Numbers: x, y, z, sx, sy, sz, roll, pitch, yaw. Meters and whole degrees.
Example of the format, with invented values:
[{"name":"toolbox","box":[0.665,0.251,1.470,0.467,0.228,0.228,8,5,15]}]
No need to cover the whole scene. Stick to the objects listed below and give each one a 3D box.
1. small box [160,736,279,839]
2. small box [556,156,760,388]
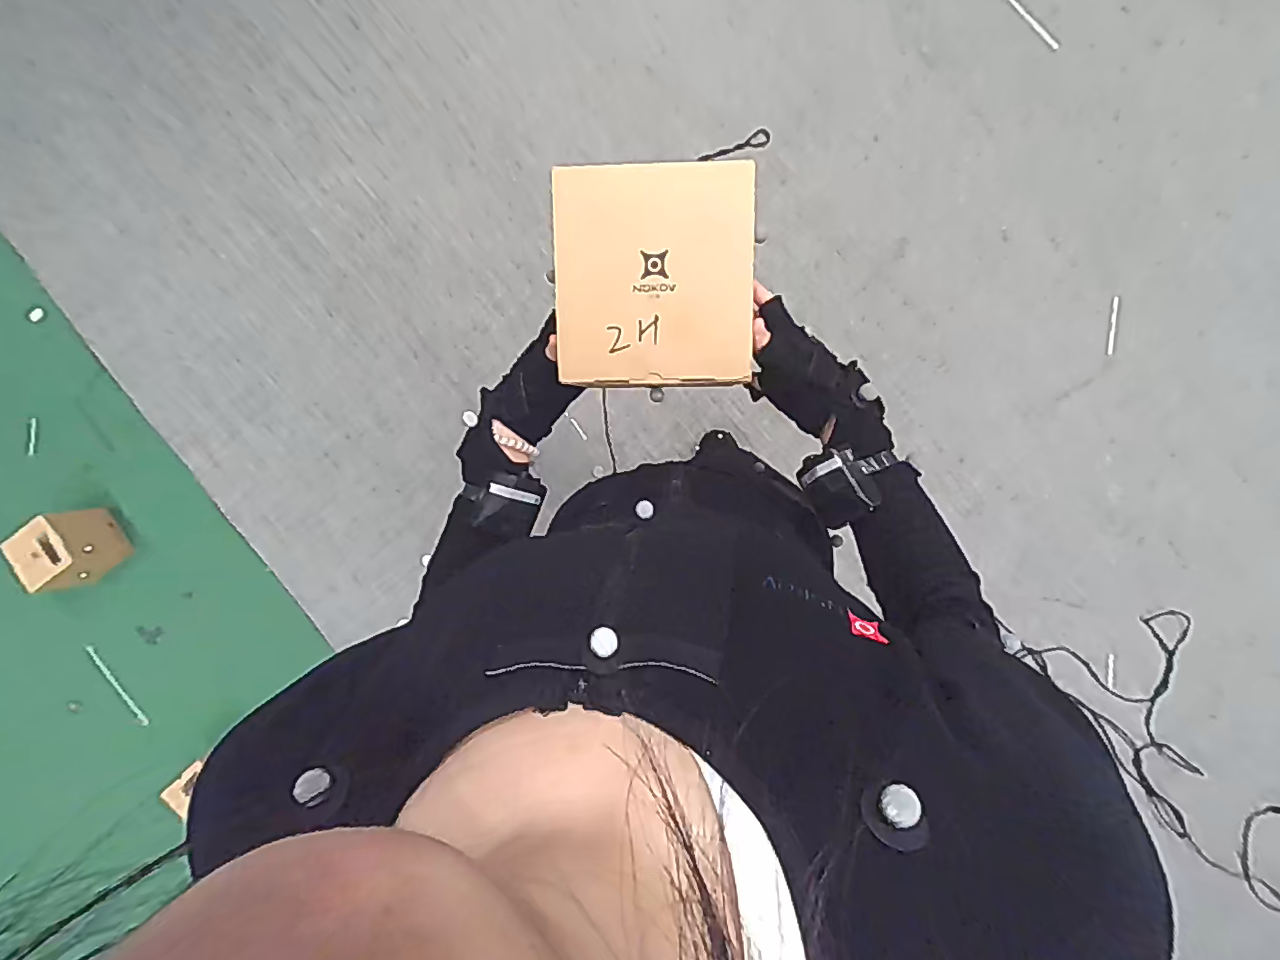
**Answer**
[{"name":"small box","box":[-1.219,0.883,1.579,0.168,0.176,0.179,-42,90,7]},{"name":"small box","box":[0.017,-0.180,0.519,0.168,0.176,0.179,0,99,3]}]
